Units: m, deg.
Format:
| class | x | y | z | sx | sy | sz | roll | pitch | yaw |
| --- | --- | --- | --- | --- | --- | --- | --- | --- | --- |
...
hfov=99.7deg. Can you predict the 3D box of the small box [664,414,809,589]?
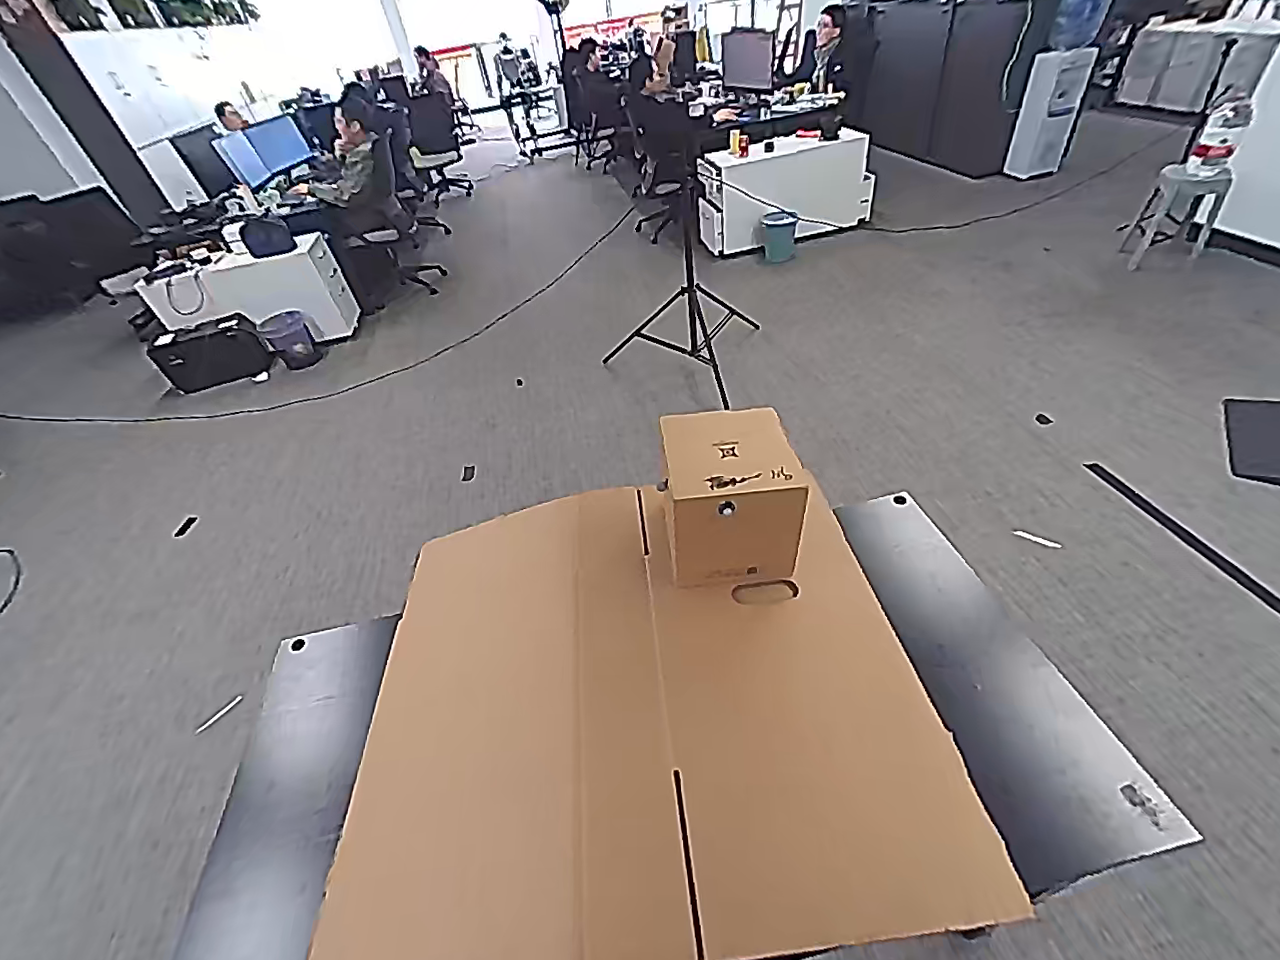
| class | x | y | z | sx | sy | sz | roll | pitch | yaw |
| --- | --- | --- | --- | --- | --- | --- | --- | --- | --- |
| small box | 0.123 | 0.028 | 0.759 | 0.168 | 0.176 | 0.179 | -6 | 40 | 0 |
